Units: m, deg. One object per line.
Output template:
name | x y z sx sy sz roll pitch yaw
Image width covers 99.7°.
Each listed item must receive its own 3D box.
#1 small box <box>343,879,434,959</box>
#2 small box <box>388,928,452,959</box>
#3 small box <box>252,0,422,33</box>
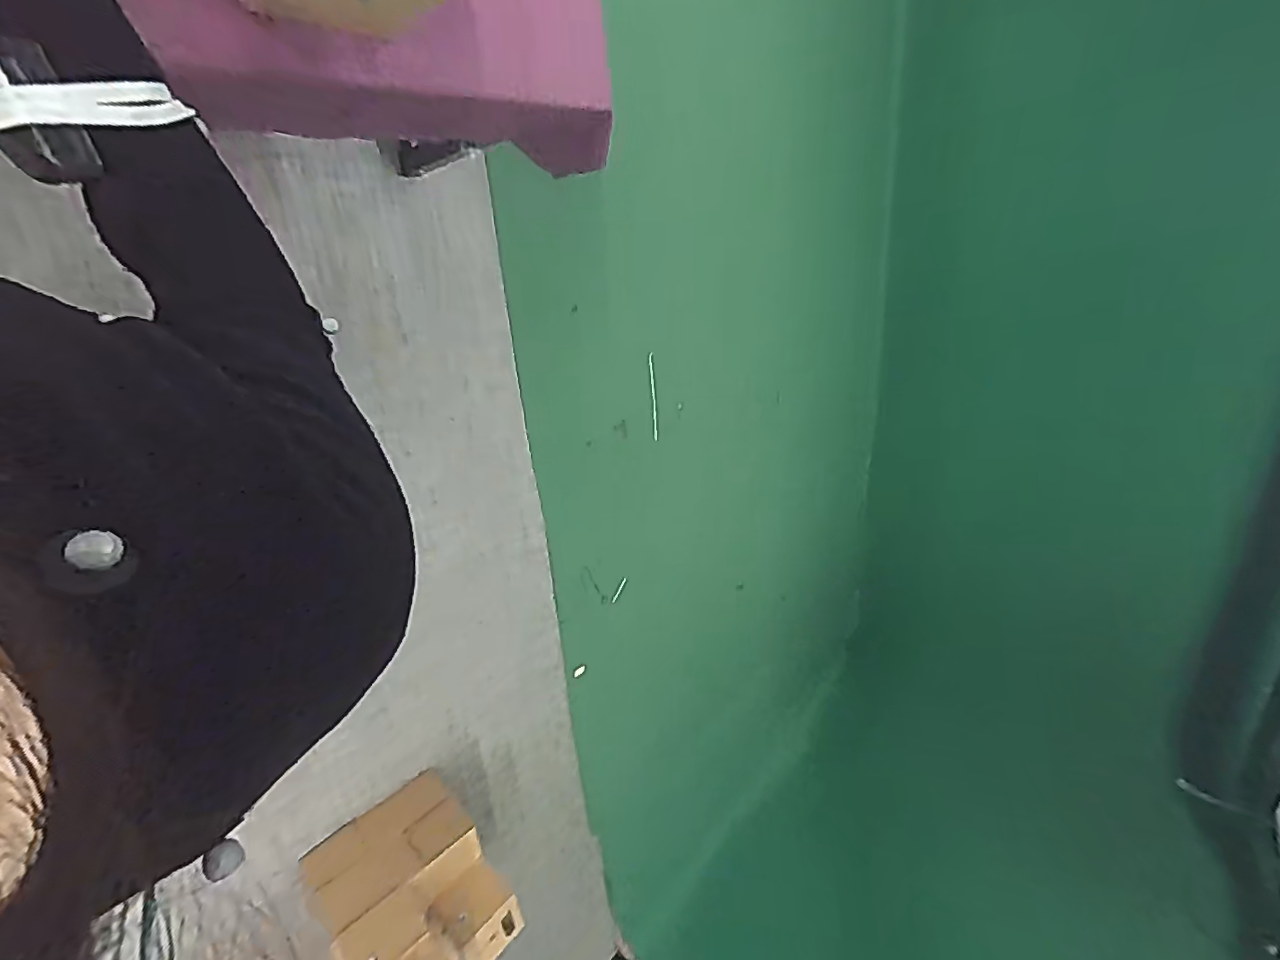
small box | -0.634 1.190 1.380 0.179 0.176 0.168 -23 119 -41
small box | -0.516 1.226 1.274 0.168 0.176 0.179 -23 117 -41
small box | -0.329 -0.610 0.568 0.179 0.176 0.168 -27 119 -41
